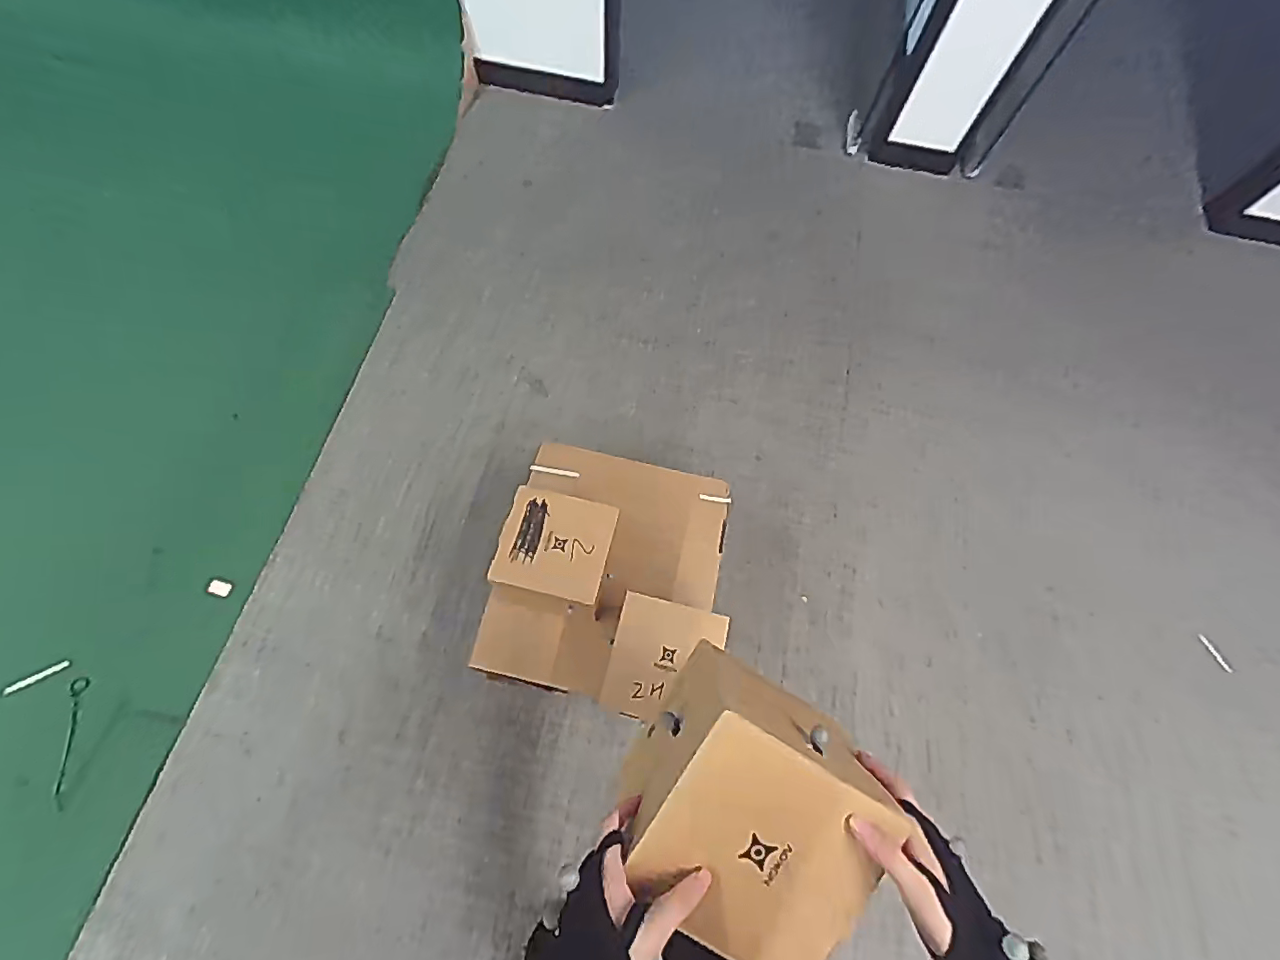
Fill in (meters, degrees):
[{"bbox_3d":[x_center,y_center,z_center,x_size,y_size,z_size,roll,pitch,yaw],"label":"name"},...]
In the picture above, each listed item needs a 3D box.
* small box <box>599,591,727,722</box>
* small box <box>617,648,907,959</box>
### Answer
[{"bbox_3d":[0.031,0.299,0.878,0.168,0.176,0.179,14,67,1],"label":"small box"},{"bbox_3d":[0.093,0.279,0.500,0.179,0.176,0.168,31,91,-3],"label":"small box"}]
